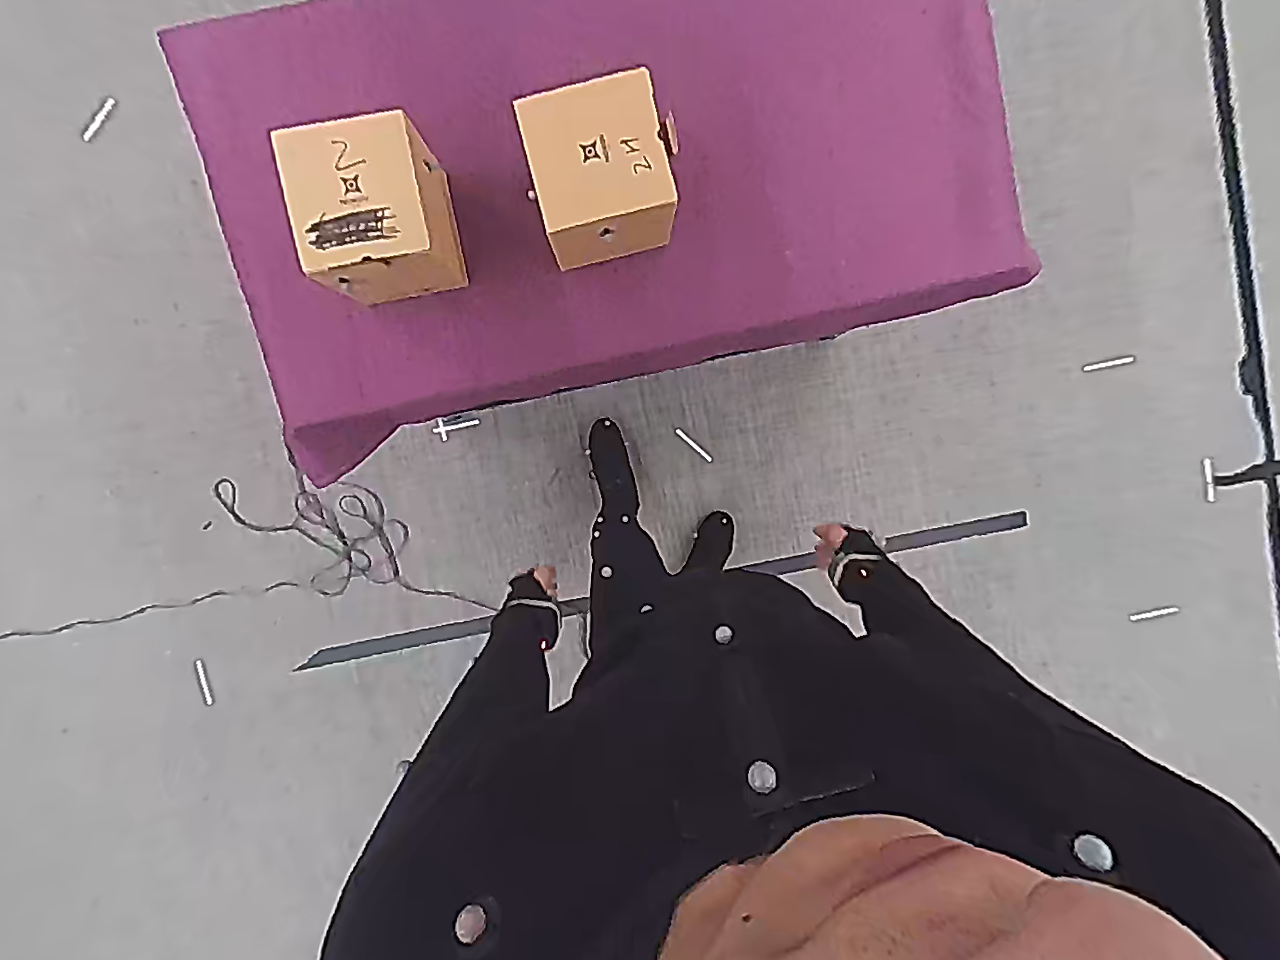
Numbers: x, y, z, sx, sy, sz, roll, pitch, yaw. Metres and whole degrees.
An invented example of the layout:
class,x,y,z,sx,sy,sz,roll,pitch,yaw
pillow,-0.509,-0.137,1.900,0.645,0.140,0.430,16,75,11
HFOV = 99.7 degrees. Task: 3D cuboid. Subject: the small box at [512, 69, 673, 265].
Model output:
class,x,y,z,sx,sy,sz,roll,pitch,yaw
small box,-0.060,-0.422,0.761,0.179,0.176,0.168,-14,96,-1
